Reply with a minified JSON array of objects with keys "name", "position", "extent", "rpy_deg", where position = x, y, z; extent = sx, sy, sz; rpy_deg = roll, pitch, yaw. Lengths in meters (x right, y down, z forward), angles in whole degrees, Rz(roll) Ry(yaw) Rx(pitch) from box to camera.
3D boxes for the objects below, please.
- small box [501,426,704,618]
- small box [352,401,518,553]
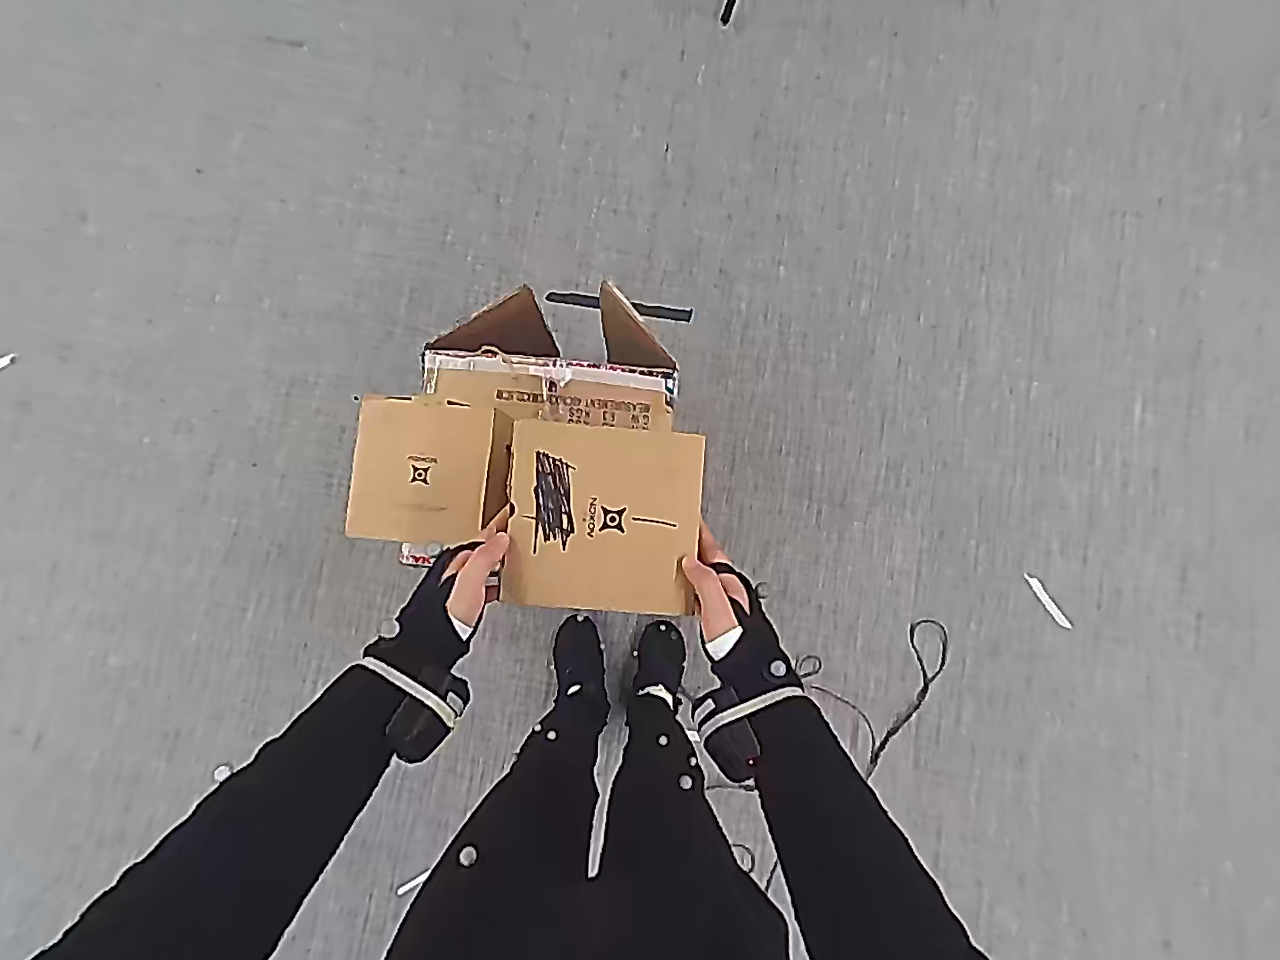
[{"name":"small box","position":[-0.036,0.044,0.573],"extent":[0.179,0.176,0.168],"rpy_deg":[5,86,-2]},{"name":"small box","position":[-0.261,-0.002,0.739],"extent":[0.168,0.176,0.179],"rpy_deg":[5,89,1]}]
